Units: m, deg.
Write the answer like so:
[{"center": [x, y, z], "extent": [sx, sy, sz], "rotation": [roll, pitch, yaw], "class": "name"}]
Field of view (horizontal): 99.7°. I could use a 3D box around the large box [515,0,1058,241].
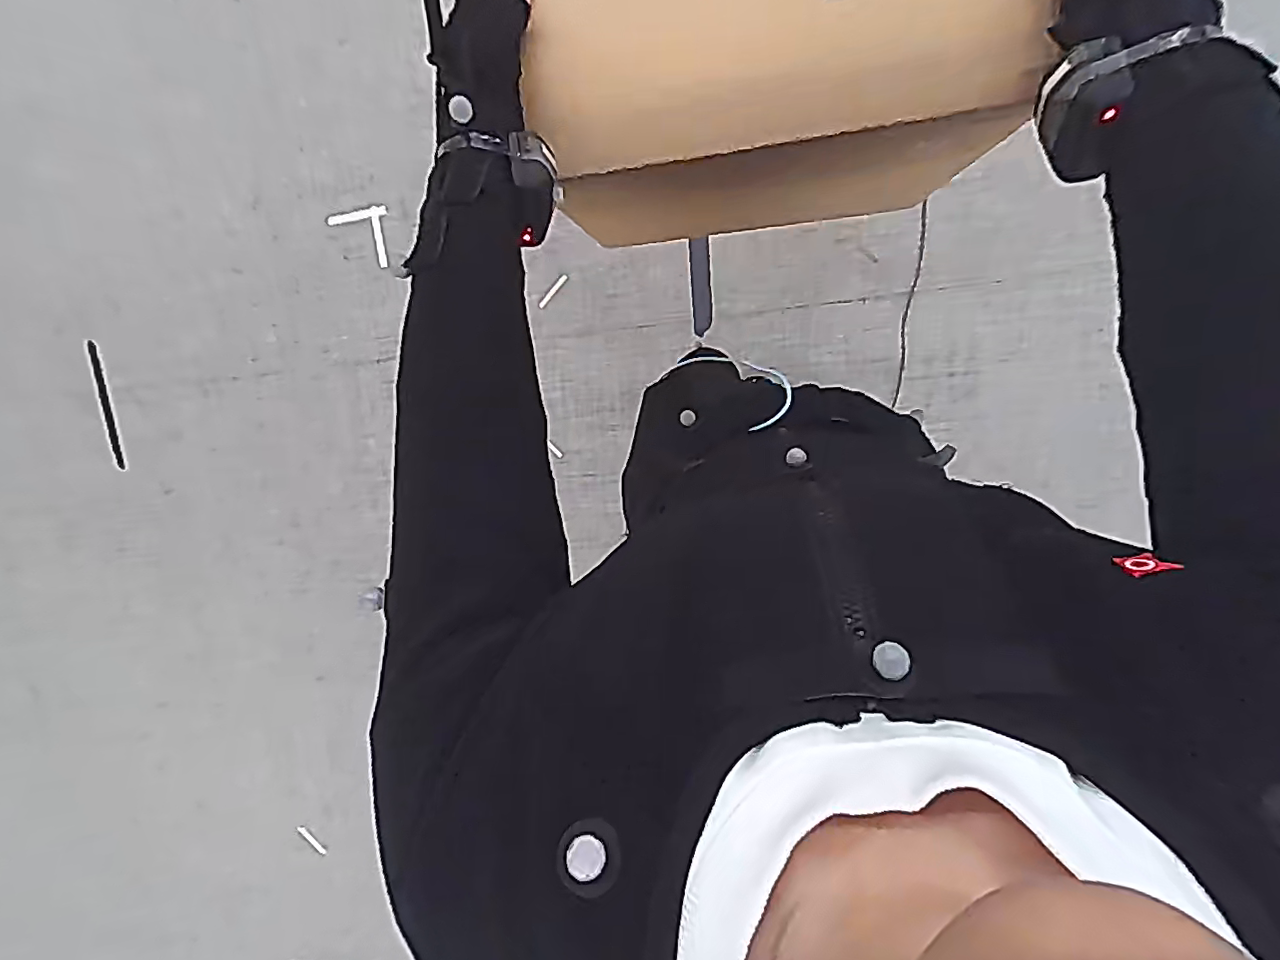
[{"center": [0.109, -0.457, 0.537], "extent": [0.408, 0.320, 0.320], "rotation": [-5, 103, 9], "class": "large box"}]
